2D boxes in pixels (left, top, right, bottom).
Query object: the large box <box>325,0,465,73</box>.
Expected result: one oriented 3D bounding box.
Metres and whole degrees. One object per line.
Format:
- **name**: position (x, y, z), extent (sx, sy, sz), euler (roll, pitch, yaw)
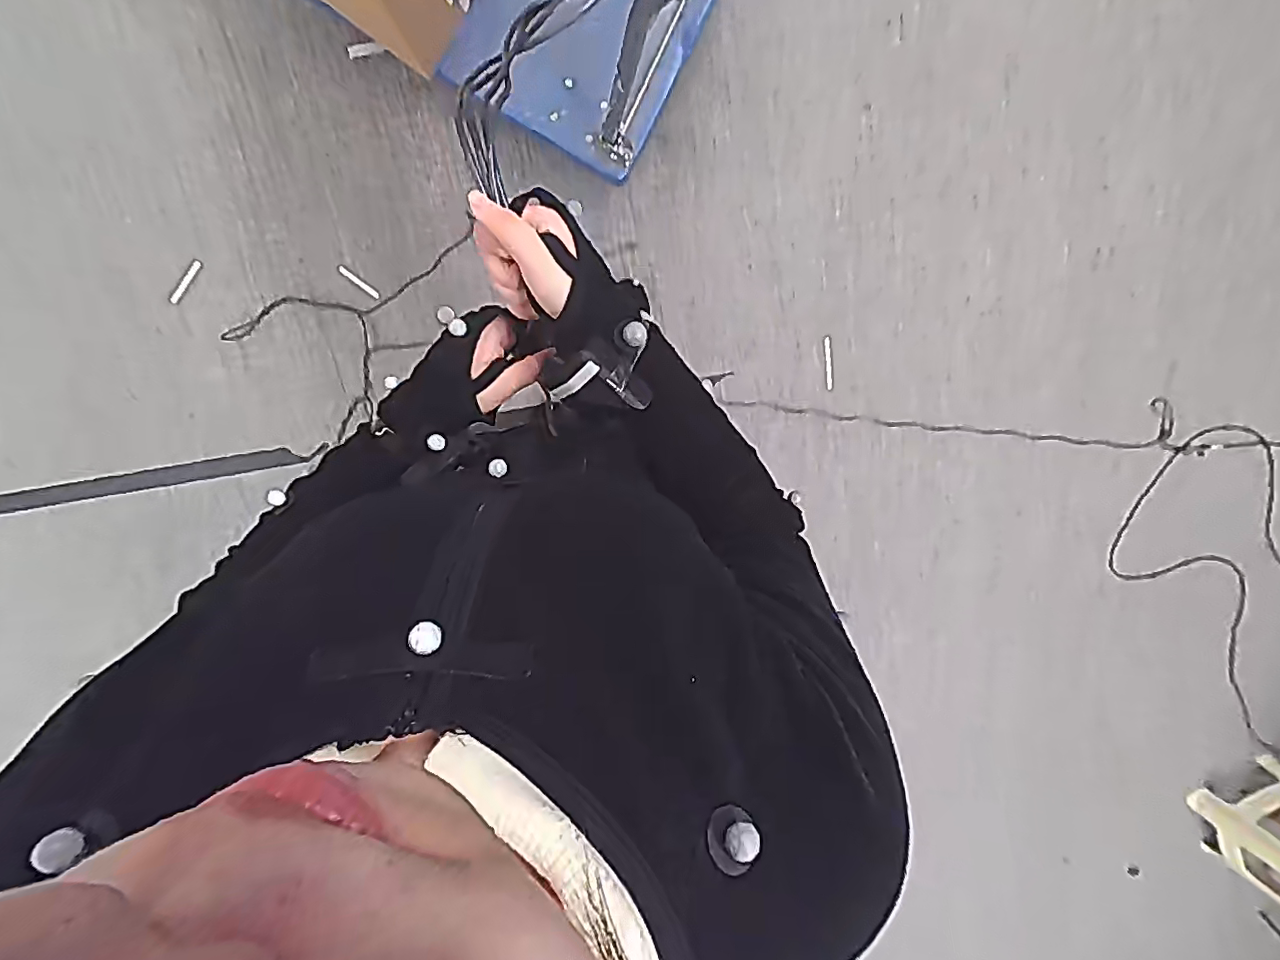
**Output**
- **large box**: position (-0.480, -0.973, 0.849), extent (0.408, 0.320, 0.320), euler (32, 99, -12)
